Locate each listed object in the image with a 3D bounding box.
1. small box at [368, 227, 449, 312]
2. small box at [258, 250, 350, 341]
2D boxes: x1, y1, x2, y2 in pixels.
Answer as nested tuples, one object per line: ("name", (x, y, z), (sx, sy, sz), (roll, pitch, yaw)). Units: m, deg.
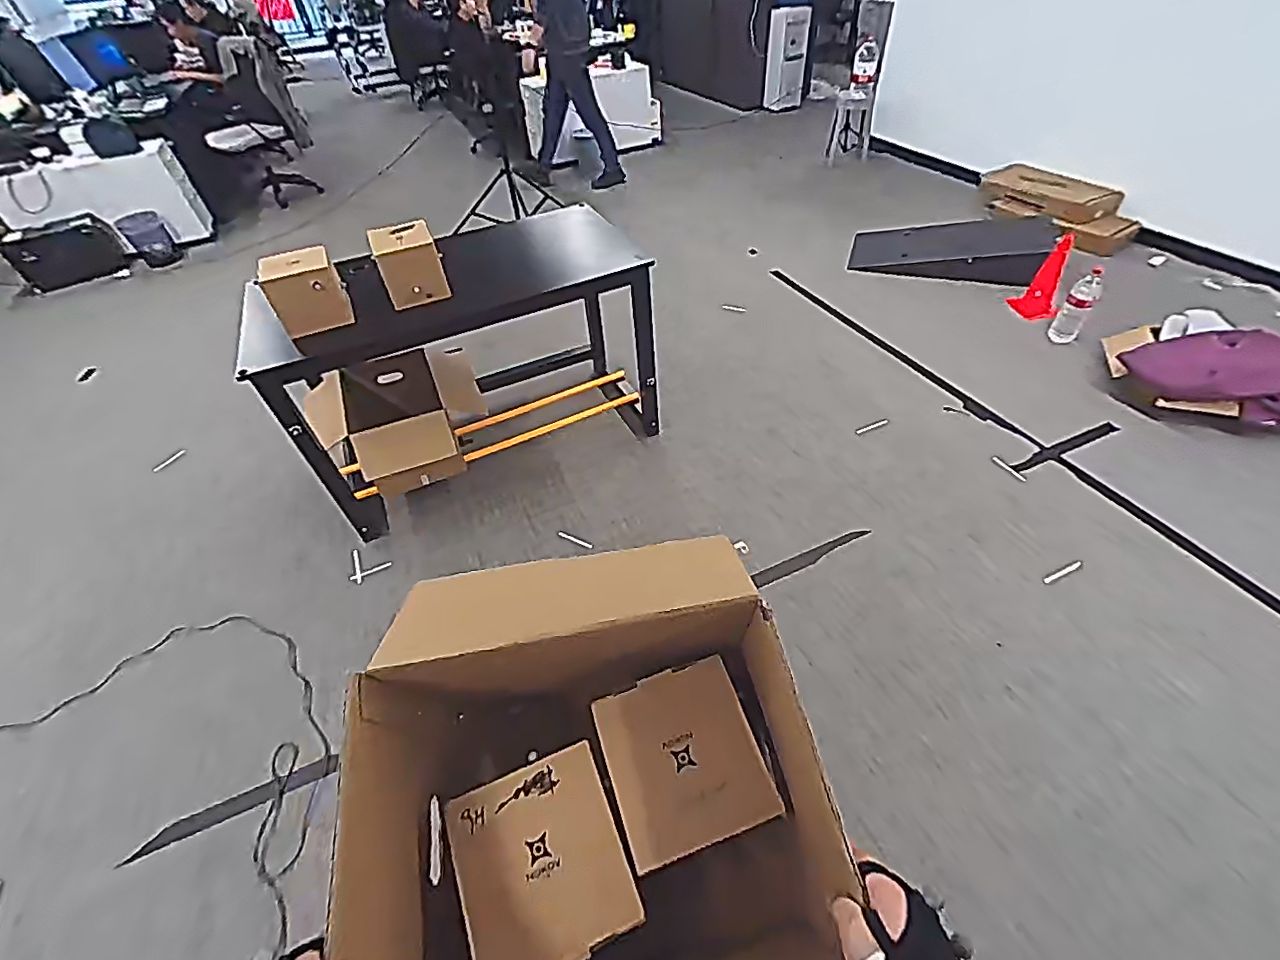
("small box", (-0.685, -0.623, 1.603), (0.168, 0.176, 0.179), (-21, 48, -14))
("small box", (-0.938, -0.519, 1.524), (0.179, 0.176, 0.168), (-22, 48, -16))
